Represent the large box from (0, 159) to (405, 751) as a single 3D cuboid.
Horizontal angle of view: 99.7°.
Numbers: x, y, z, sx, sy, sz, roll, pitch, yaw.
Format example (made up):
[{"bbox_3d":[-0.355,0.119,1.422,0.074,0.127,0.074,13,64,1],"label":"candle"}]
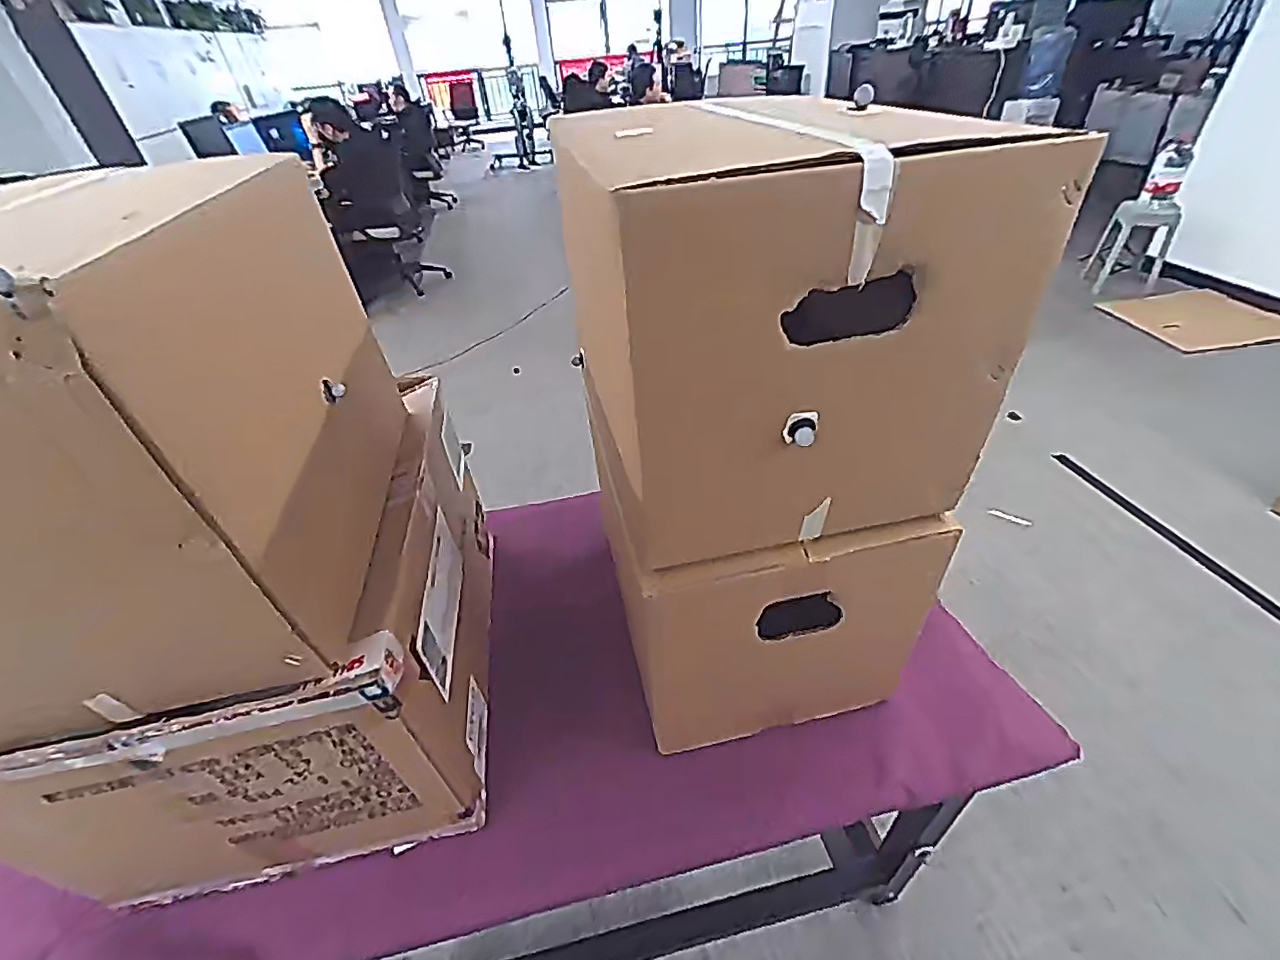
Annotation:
[{"bbox_3d":[-0.426,-0.056,0.469,0.320,0.320,0.408,-12,40,-6],"label":"large box"}]
